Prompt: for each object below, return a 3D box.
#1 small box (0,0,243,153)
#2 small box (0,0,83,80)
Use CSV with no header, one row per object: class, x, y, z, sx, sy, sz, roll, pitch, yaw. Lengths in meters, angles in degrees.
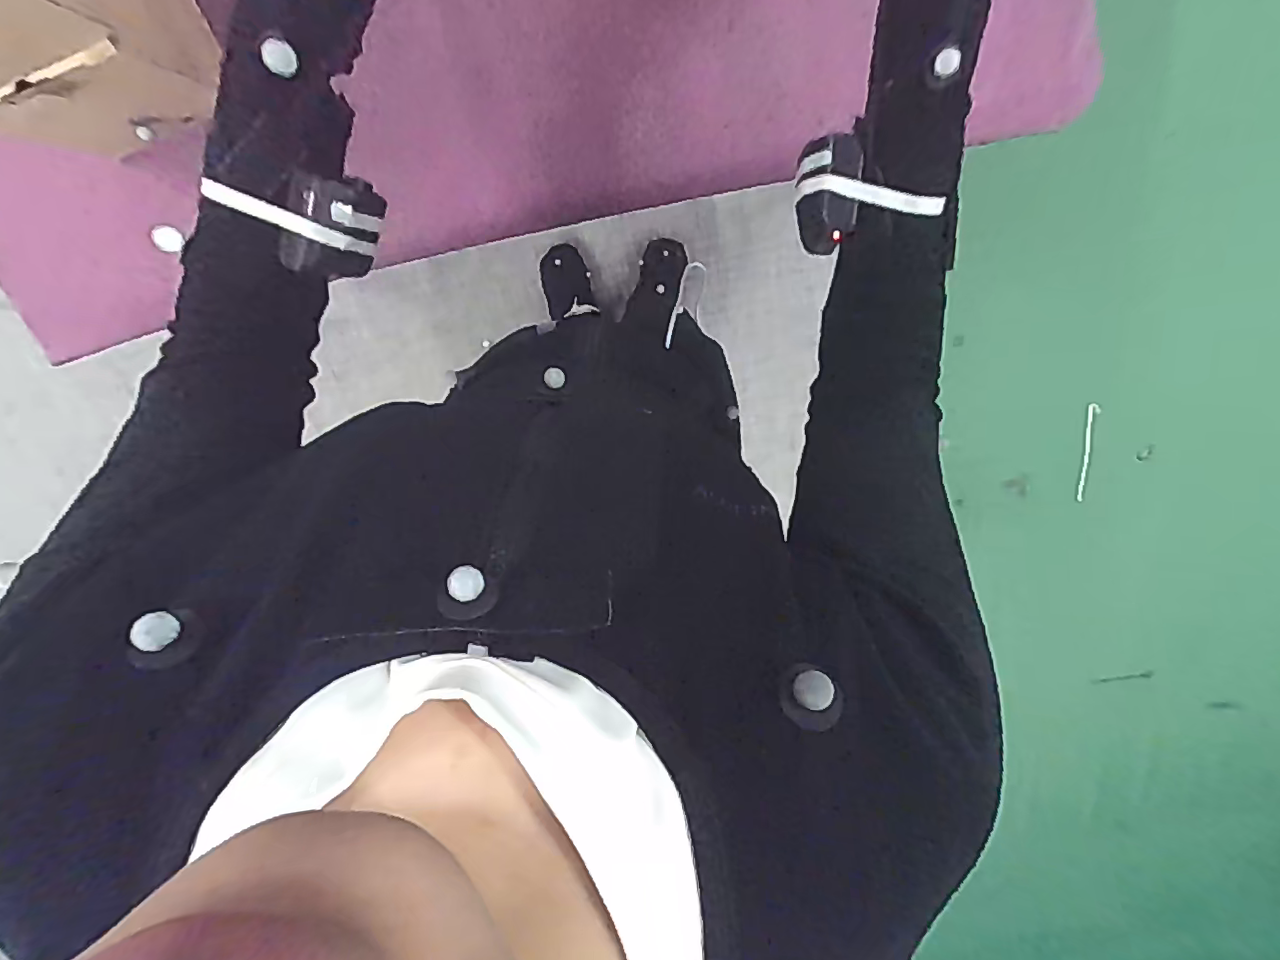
small box,-0.503,-0.410,0.460,0.168,0.176,0.179,-18,114,6
small box,-0.491,-0.347,0.305,0.179,0.176,0.168,-16,112,4
